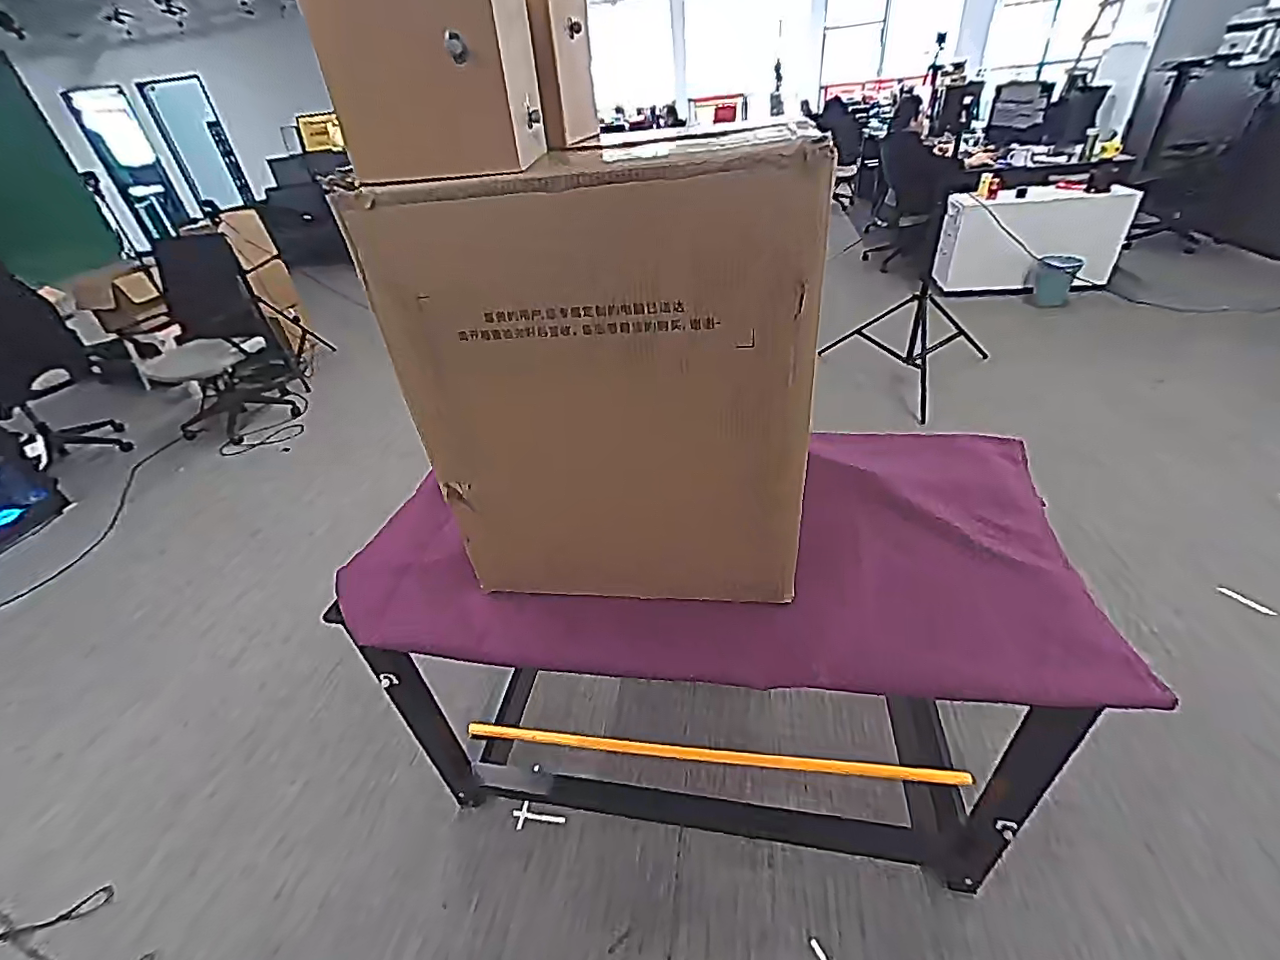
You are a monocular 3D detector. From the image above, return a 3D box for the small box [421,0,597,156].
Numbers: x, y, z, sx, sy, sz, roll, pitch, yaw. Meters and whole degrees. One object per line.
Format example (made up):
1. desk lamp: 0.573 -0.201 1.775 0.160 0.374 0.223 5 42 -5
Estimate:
1. small box: -0.164 -0.553 0.747 0.168 0.176 0.179 3 36 11
